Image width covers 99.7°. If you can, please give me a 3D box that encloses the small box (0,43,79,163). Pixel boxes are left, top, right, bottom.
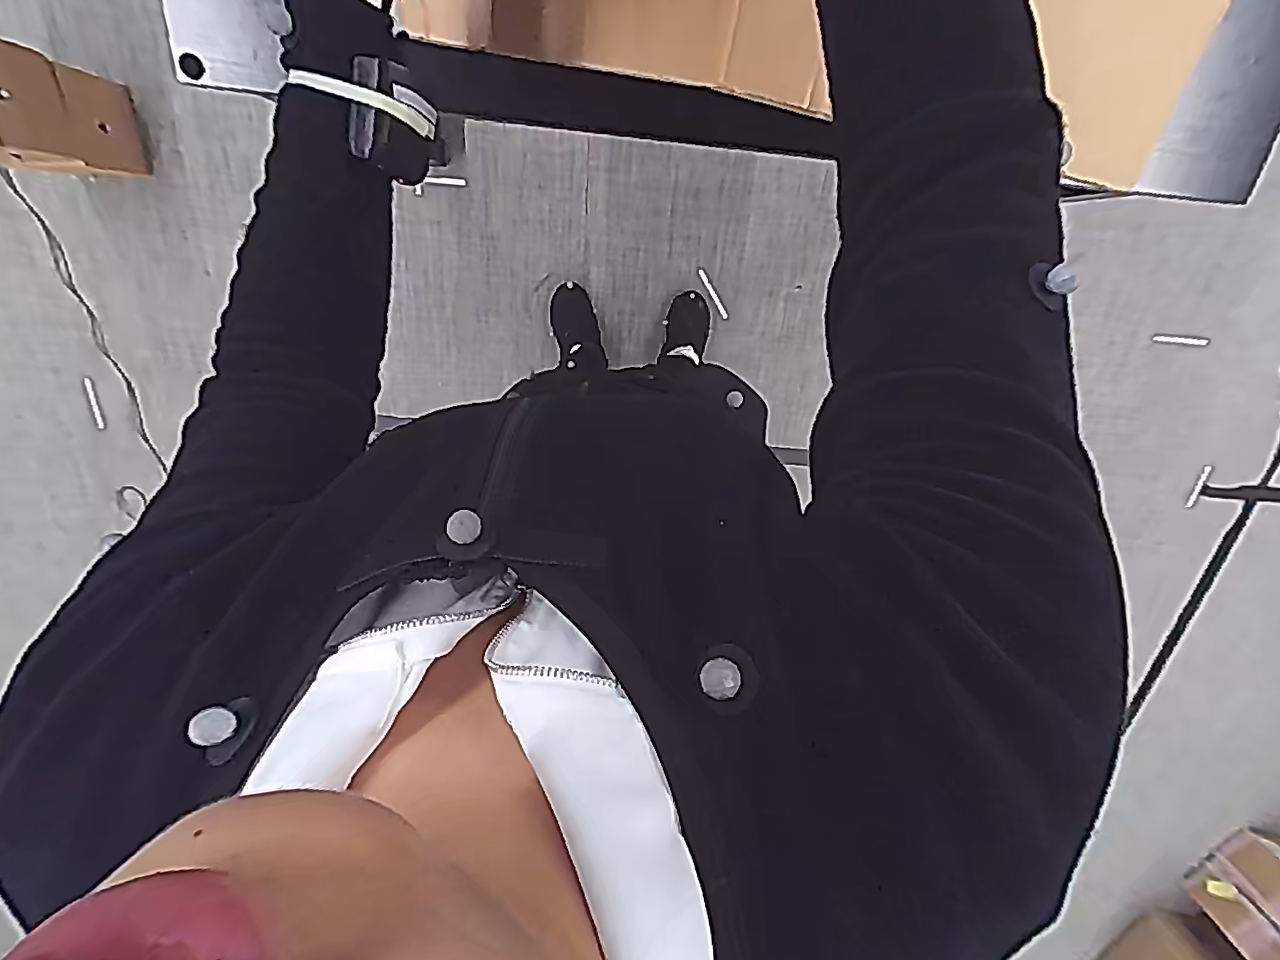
[{"bbox_3d":[-1.164,-0.665,0.949,0.168,0.176,0.179,-3,112,-2],"label":"small box"}]

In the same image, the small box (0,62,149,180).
[{"bbox_3d":[-1.170,-0.724,1.101,0.168,0.176,0.179,0,114,-2],"label":"small box"}]
